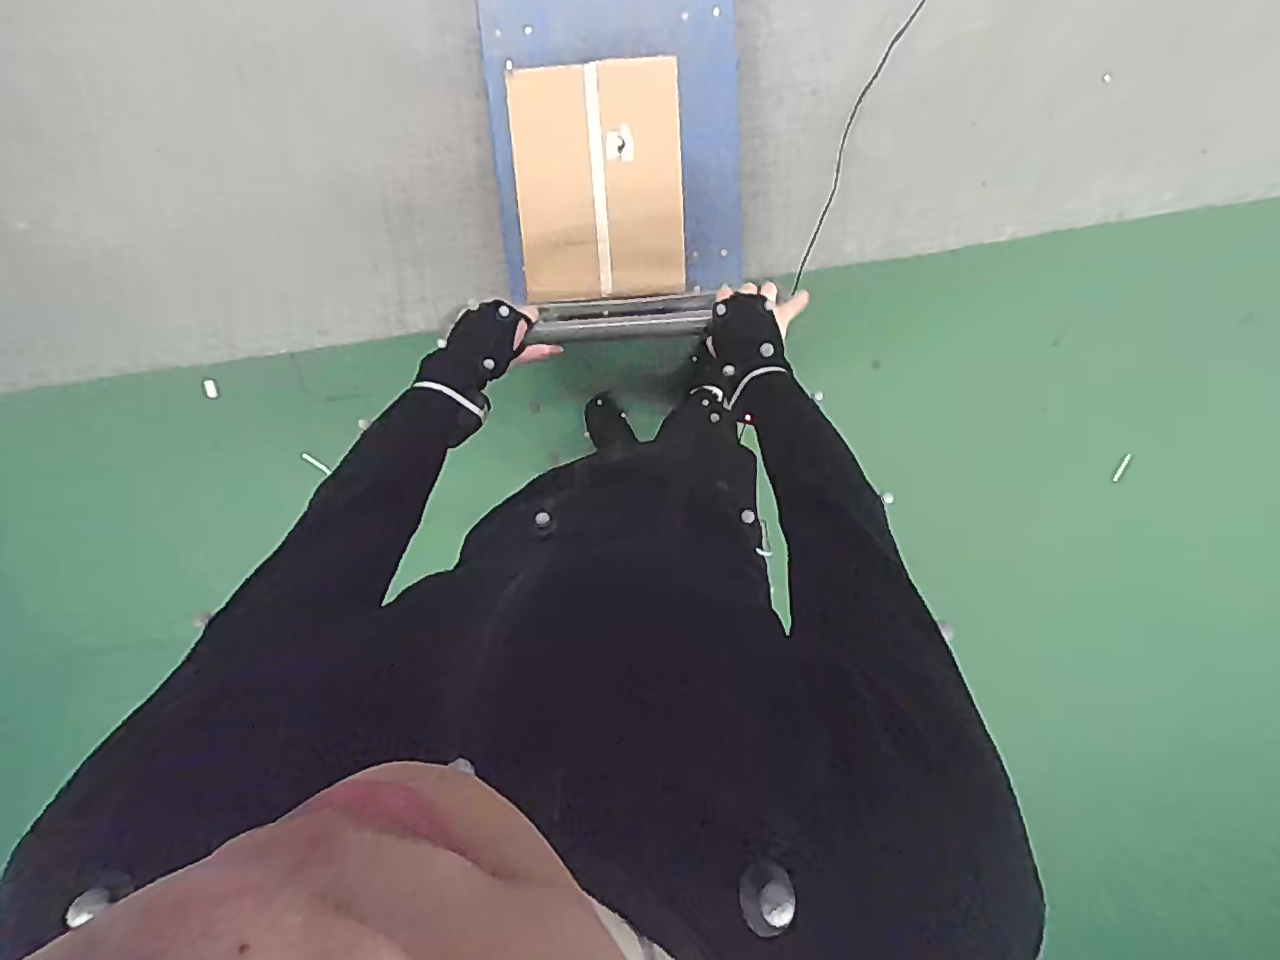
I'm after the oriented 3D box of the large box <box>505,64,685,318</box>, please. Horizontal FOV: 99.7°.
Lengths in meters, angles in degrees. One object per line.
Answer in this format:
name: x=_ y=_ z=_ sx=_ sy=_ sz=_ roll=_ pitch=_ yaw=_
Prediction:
large box: x=-0.076 y=-0.579 z=1.167 sx=0.320 sy=0.320 sz=0.408 roll=-4 pitch=102 yaw=1
